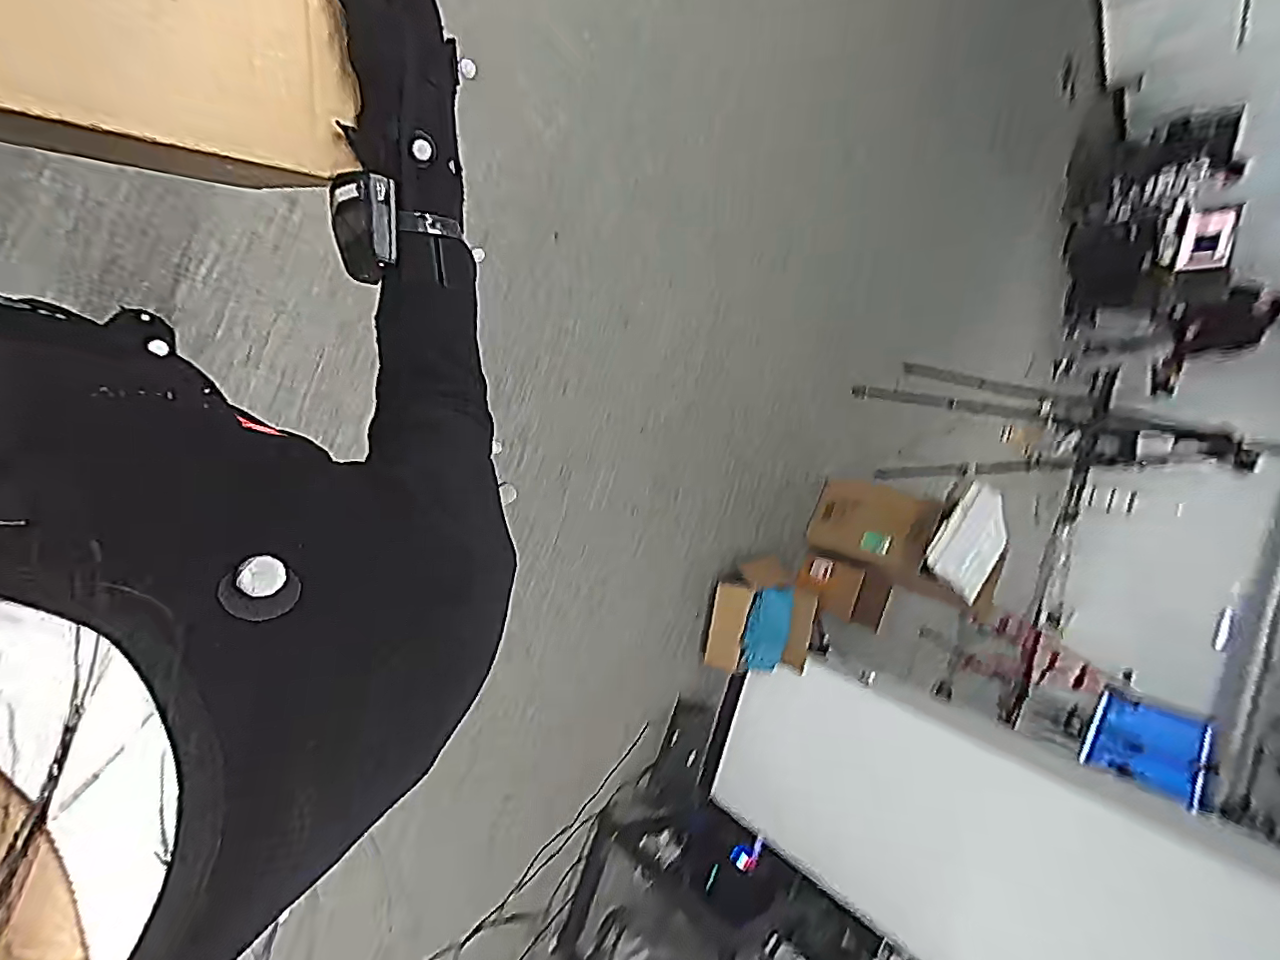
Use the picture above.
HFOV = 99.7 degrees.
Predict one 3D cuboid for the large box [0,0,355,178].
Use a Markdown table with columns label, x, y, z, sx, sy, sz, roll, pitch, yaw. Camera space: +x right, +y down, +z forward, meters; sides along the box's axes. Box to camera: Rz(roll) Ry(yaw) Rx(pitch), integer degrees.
| label | x | y | z | sx | sy | sz | roll | pitch | yaw |
| --- | --- | --- | --- | --- | --- | --- | --- | --- | --- |
| large box | -0.441 | -0.383 | 0.305 | 0.408 | 0.320 | 0.320 | -15 | 121 | -45 |
